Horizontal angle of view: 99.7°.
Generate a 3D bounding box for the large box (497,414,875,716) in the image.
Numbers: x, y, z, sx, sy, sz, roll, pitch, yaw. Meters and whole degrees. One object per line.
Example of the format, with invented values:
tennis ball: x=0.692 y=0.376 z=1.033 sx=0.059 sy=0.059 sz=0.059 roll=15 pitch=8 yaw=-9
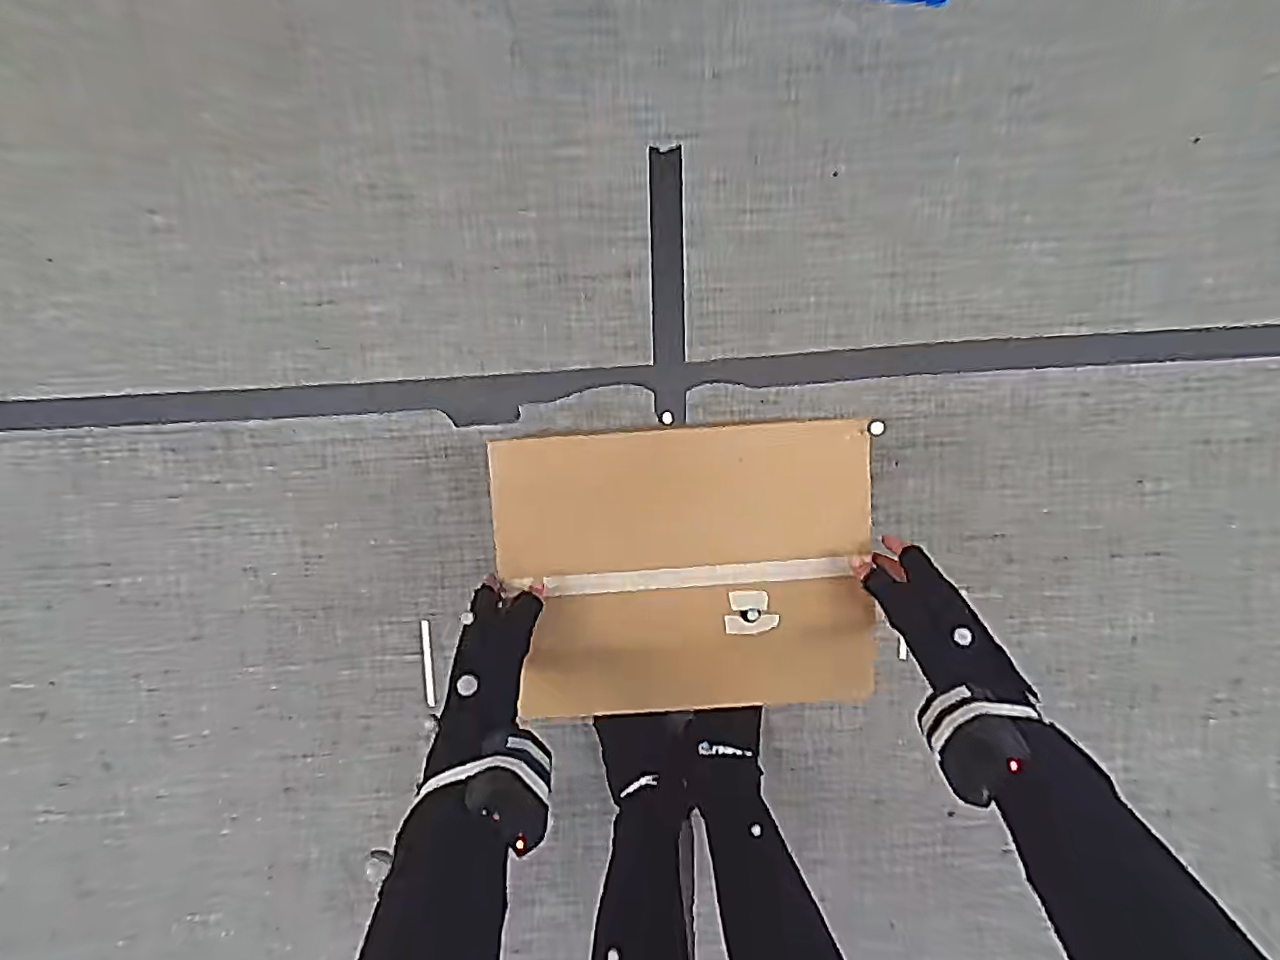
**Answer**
large box: x=0.051 y=0.083 z=0.739 sx=0.408 sy=0.320 sz=0.320 roll=-4 pitch=97 yaw=-1
